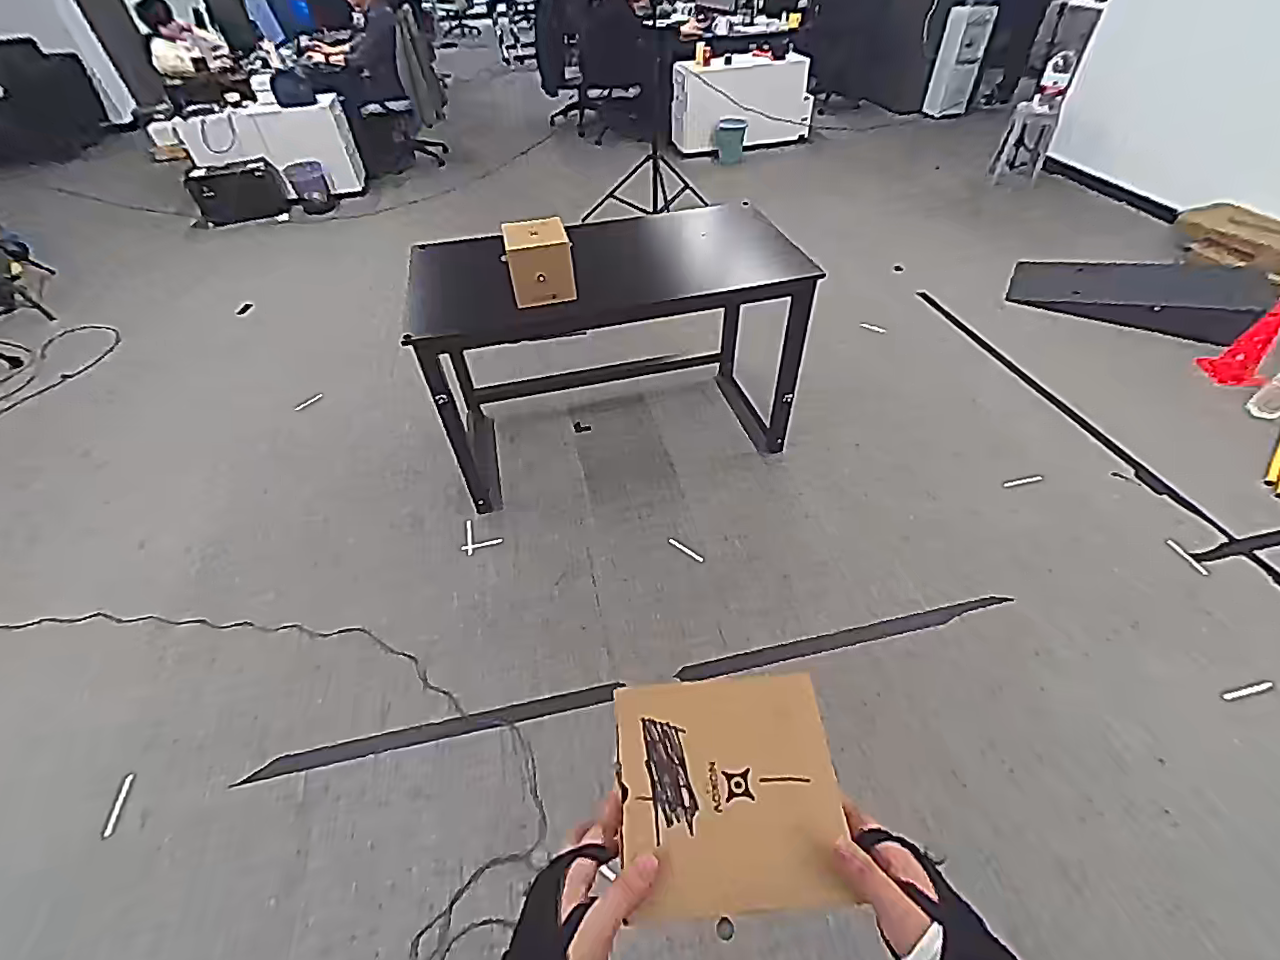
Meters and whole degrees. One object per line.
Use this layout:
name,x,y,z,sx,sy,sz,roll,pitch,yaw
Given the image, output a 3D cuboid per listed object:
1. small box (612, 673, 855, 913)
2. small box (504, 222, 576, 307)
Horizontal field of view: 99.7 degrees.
small box,0.069,0.293,0.503,0.179,0.176,0.168,-4,53,-2
small box,-0.281,-0.602,1.529,0.168,0.176,0.179,-12,47,-8
